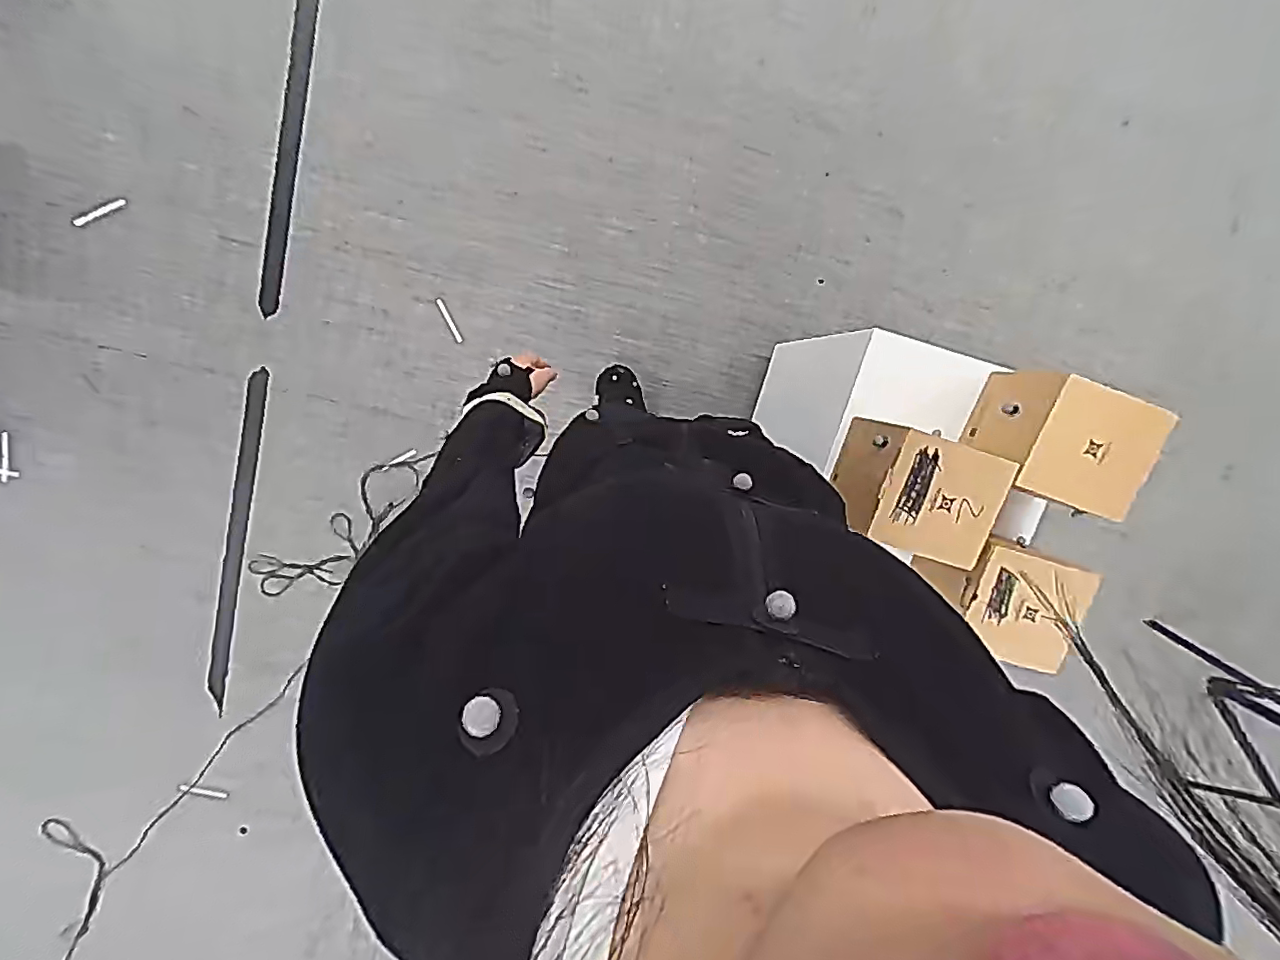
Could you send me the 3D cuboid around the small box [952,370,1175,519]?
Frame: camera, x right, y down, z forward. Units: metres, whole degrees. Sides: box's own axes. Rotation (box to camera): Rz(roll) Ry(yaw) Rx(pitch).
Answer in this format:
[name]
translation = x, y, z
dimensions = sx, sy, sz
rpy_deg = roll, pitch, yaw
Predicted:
[small box]
translation = 0.624, -0.060, 0.825
dimensions = 0.179, 0.176, 0.168
rpy_deg = 19, 101, -6
